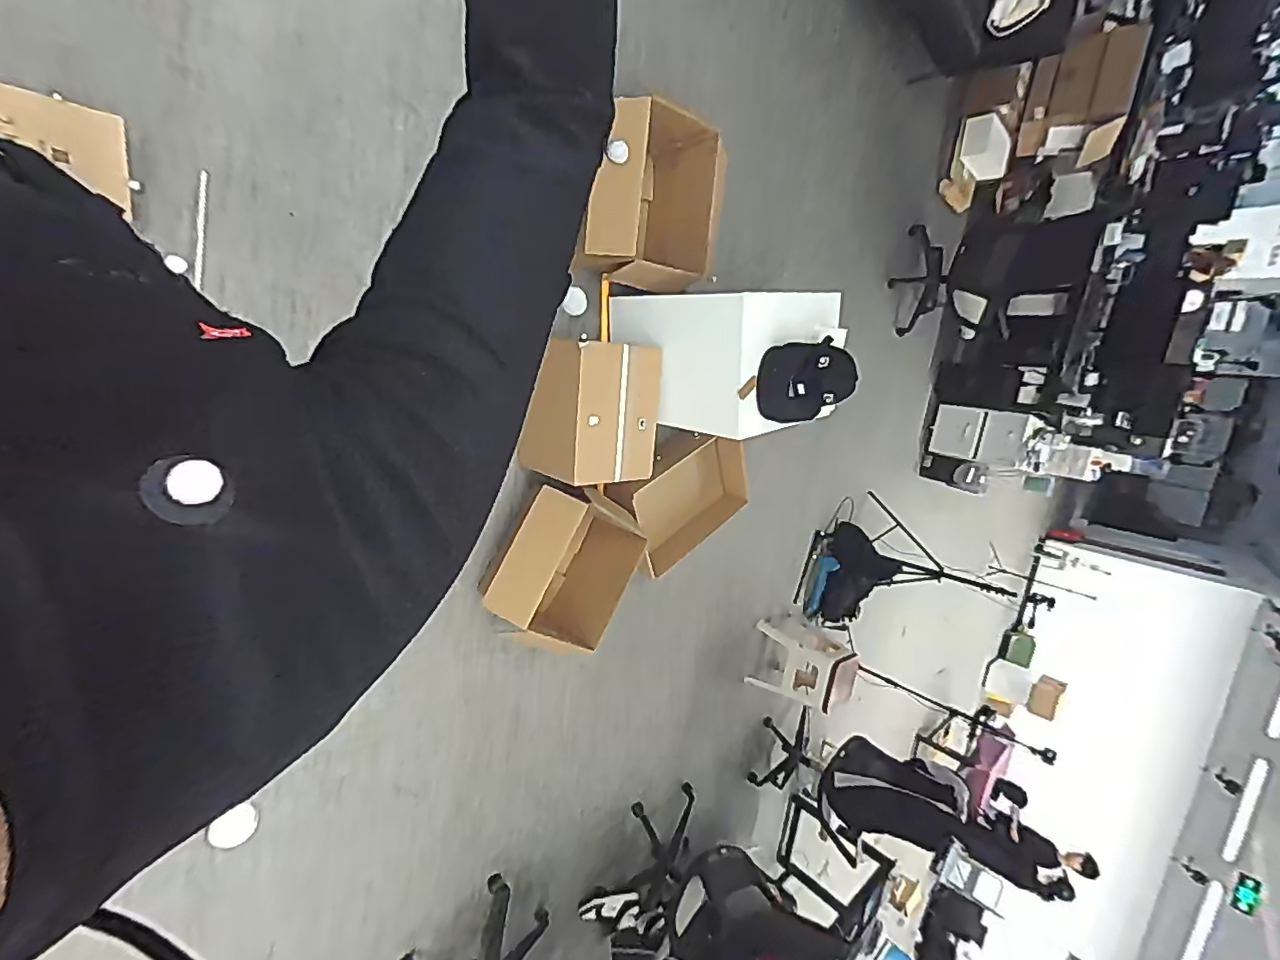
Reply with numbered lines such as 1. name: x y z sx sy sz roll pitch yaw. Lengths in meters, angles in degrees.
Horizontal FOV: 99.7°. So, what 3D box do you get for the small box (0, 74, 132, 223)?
1. small box: -0.974 -0.539 0.898 0.179 0.176 0.168 -4 105 -44
